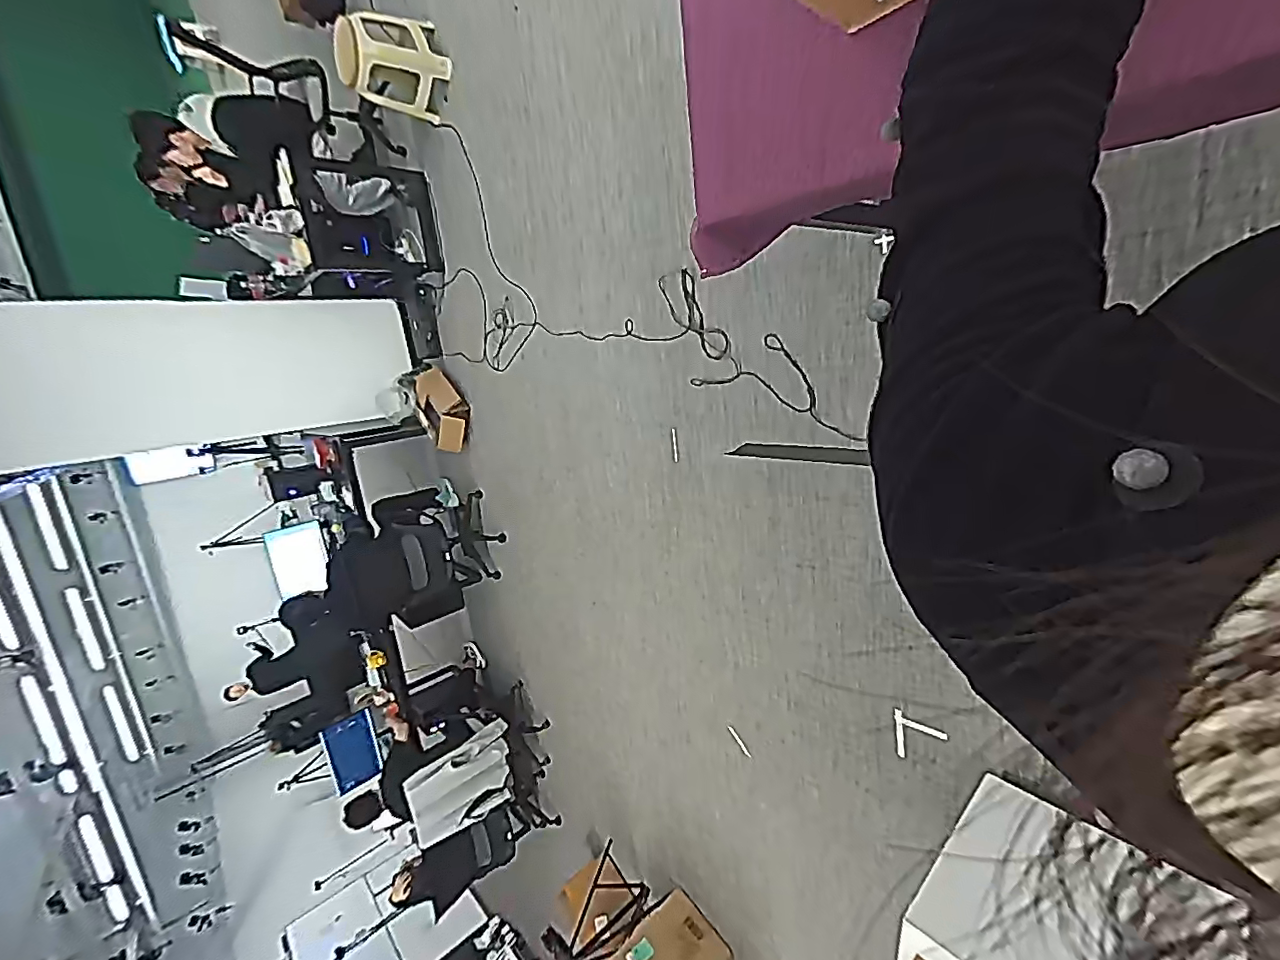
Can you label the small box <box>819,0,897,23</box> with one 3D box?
[{"bbox_3d":[0.262,-0.663,0.595,0.168,0.176,0.179,7,110,48],"label":"small box"}]
